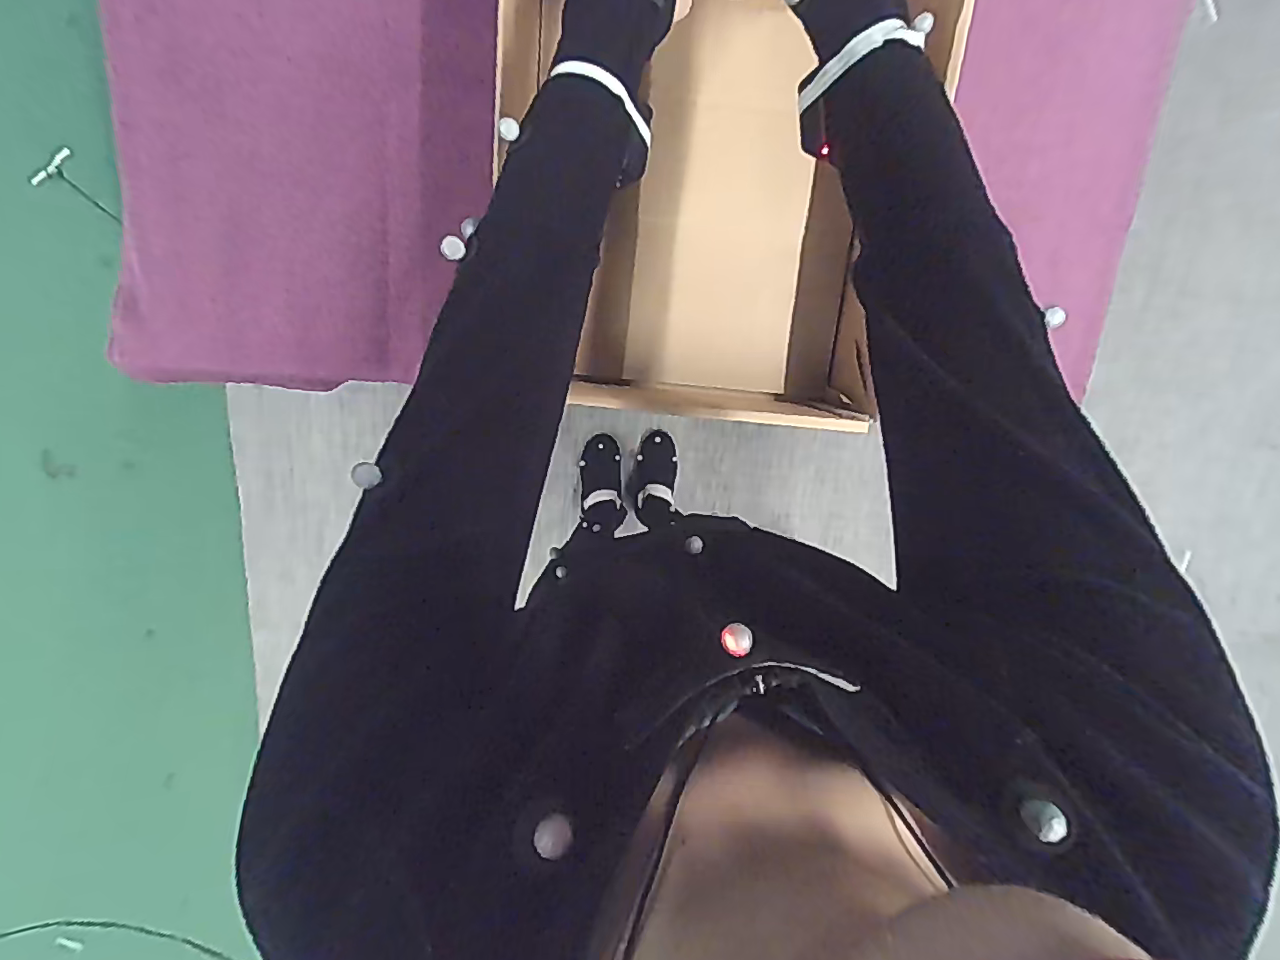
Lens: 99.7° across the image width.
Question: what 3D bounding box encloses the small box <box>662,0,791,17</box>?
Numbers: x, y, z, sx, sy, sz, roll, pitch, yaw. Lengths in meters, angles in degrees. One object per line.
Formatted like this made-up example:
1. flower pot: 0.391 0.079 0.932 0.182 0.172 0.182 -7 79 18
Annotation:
1. small box: 0.085 -0.557 0.465 0.168 0.176 0.179 5 105 -3
